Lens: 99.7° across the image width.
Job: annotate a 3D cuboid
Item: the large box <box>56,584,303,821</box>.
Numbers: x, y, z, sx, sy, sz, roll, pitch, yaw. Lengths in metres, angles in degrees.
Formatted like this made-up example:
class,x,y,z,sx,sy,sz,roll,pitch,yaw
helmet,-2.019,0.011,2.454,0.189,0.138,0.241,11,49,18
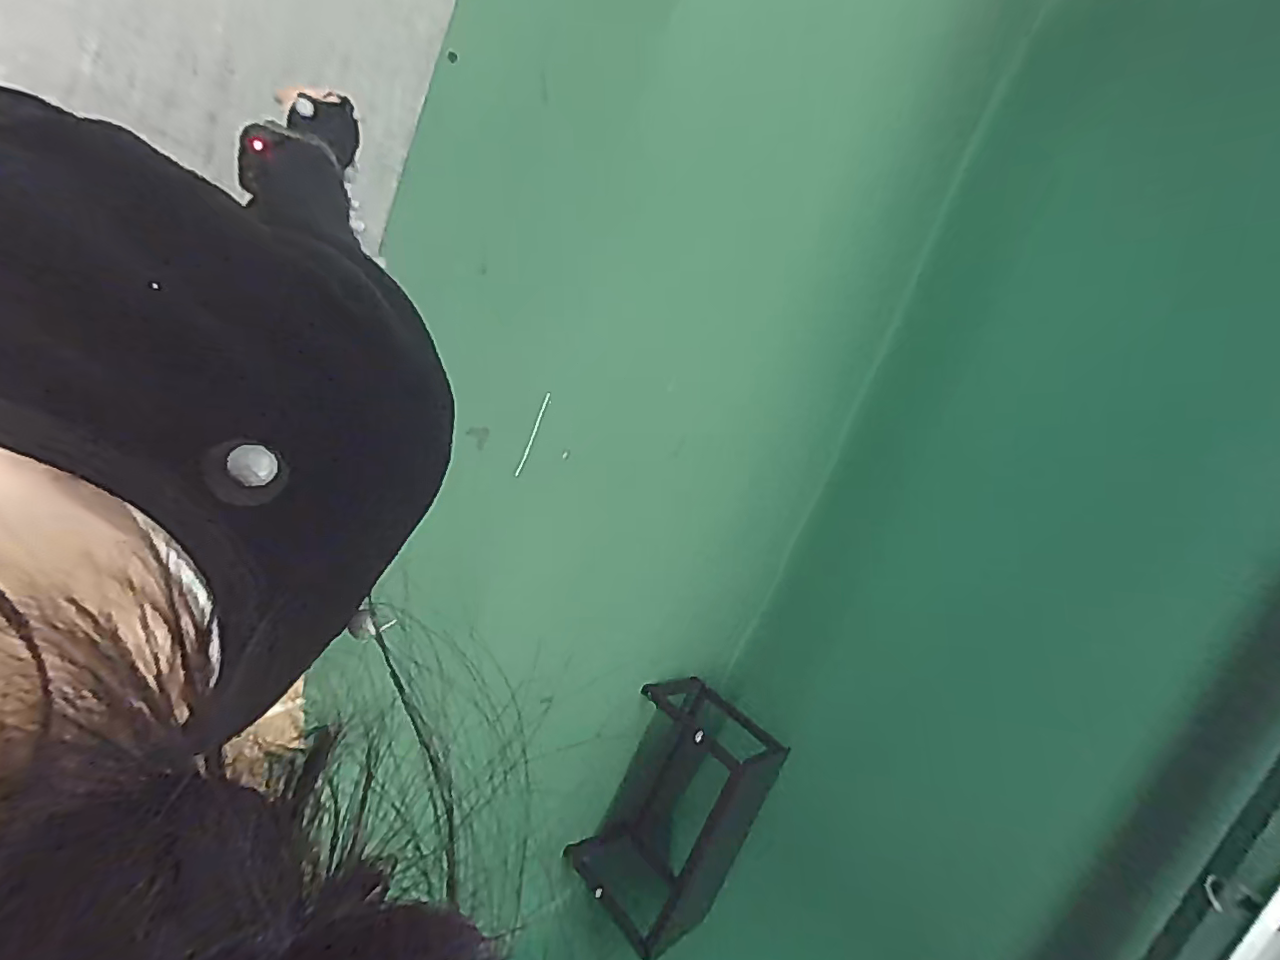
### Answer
class,x,y,z,sx,sy,sz,roll,pitch,yaw
large box,-1.089,0.496,1.303,0.408,0.320,0.320,-8,119,-46

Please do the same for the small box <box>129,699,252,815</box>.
class,x,y,z,sx,sy,sz,roll,pitch,yaw
small box,-0.941,0.592,1.131,0.179,0.176,0.168,-3,113,-46
